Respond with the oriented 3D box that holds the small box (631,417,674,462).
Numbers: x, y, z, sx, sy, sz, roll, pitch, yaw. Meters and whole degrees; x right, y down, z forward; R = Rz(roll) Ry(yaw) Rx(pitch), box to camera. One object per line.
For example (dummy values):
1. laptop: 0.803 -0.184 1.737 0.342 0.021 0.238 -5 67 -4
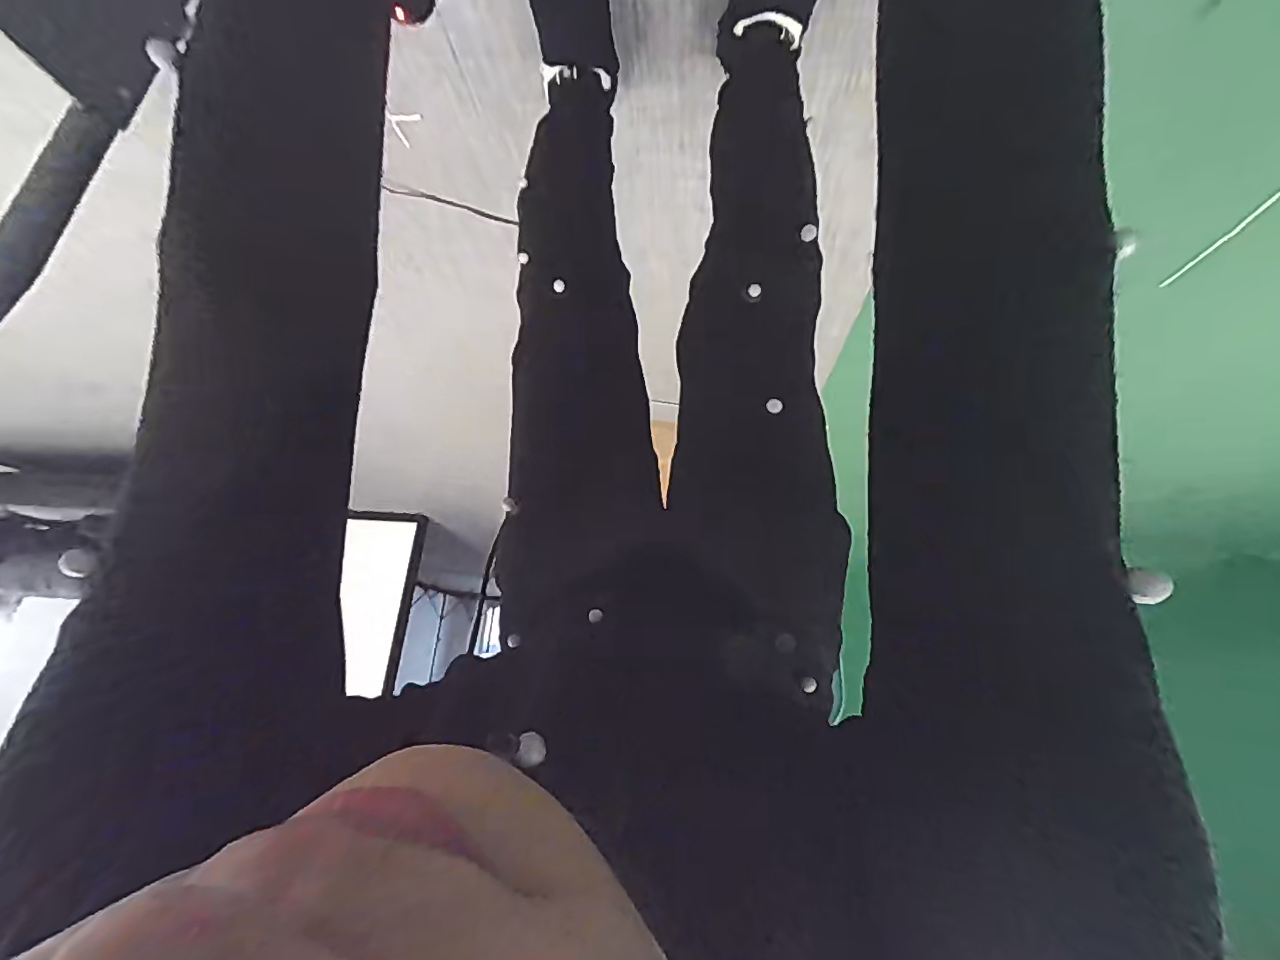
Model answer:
1. small box: 0.049 -0.149 2.240 0.168 0.176 0.179 5 163 1
